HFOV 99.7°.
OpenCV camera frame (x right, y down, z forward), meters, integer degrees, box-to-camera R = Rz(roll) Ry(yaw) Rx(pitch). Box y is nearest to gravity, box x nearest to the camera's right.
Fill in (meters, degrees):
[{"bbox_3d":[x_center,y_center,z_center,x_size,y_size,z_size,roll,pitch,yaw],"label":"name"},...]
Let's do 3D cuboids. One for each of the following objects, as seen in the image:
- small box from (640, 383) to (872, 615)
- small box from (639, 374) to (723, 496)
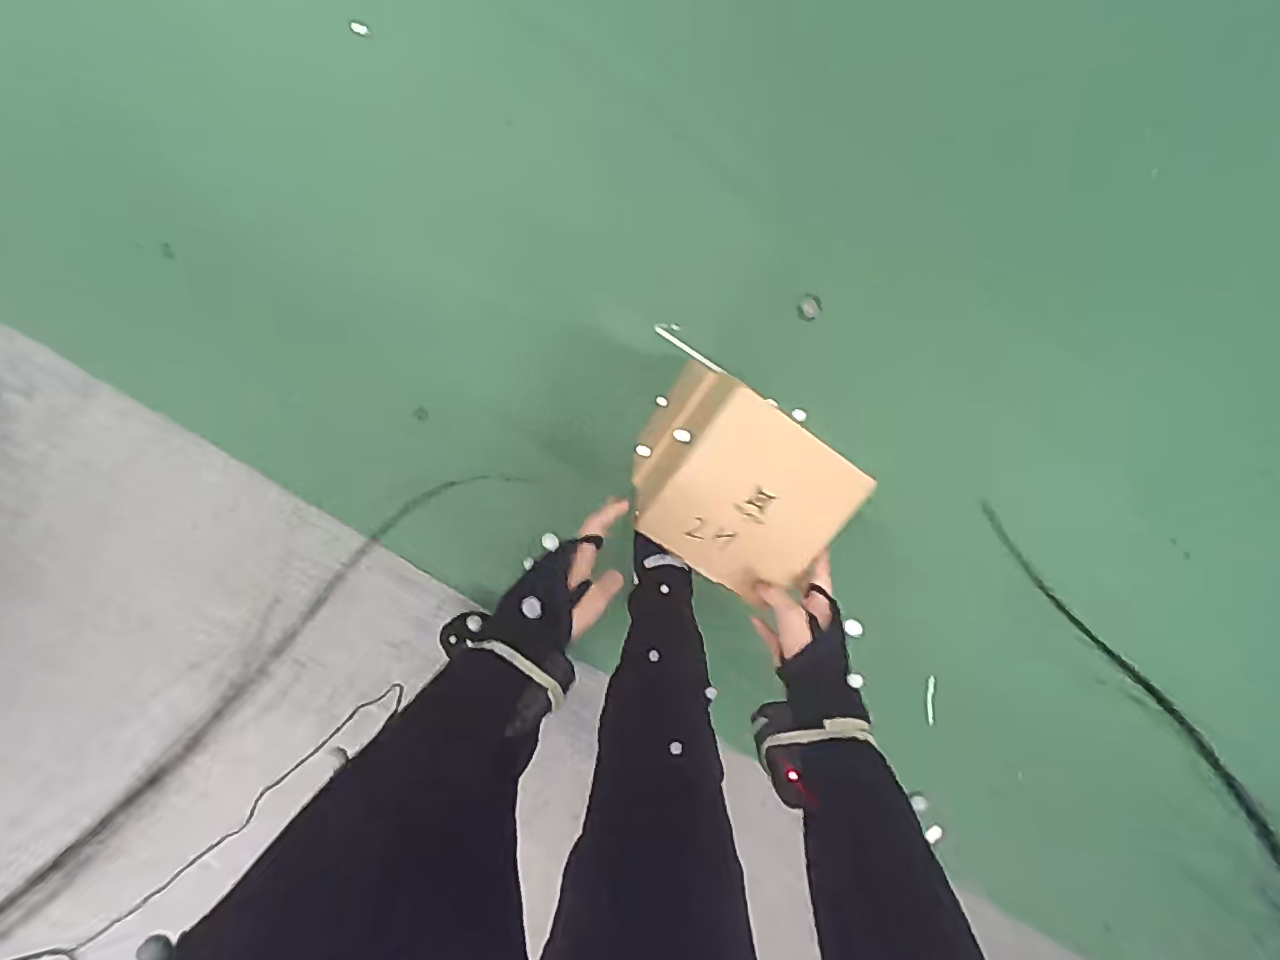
[{"bbox_3d":[0.112,0.007,0.605,0.168,0.176,0.179,34,103,-7],"label":"small box"},{"bbox_3d":[0.110,-0.035,0.765,0.168,0.176,0.179,32,104,-7],"label":"small box"}]
